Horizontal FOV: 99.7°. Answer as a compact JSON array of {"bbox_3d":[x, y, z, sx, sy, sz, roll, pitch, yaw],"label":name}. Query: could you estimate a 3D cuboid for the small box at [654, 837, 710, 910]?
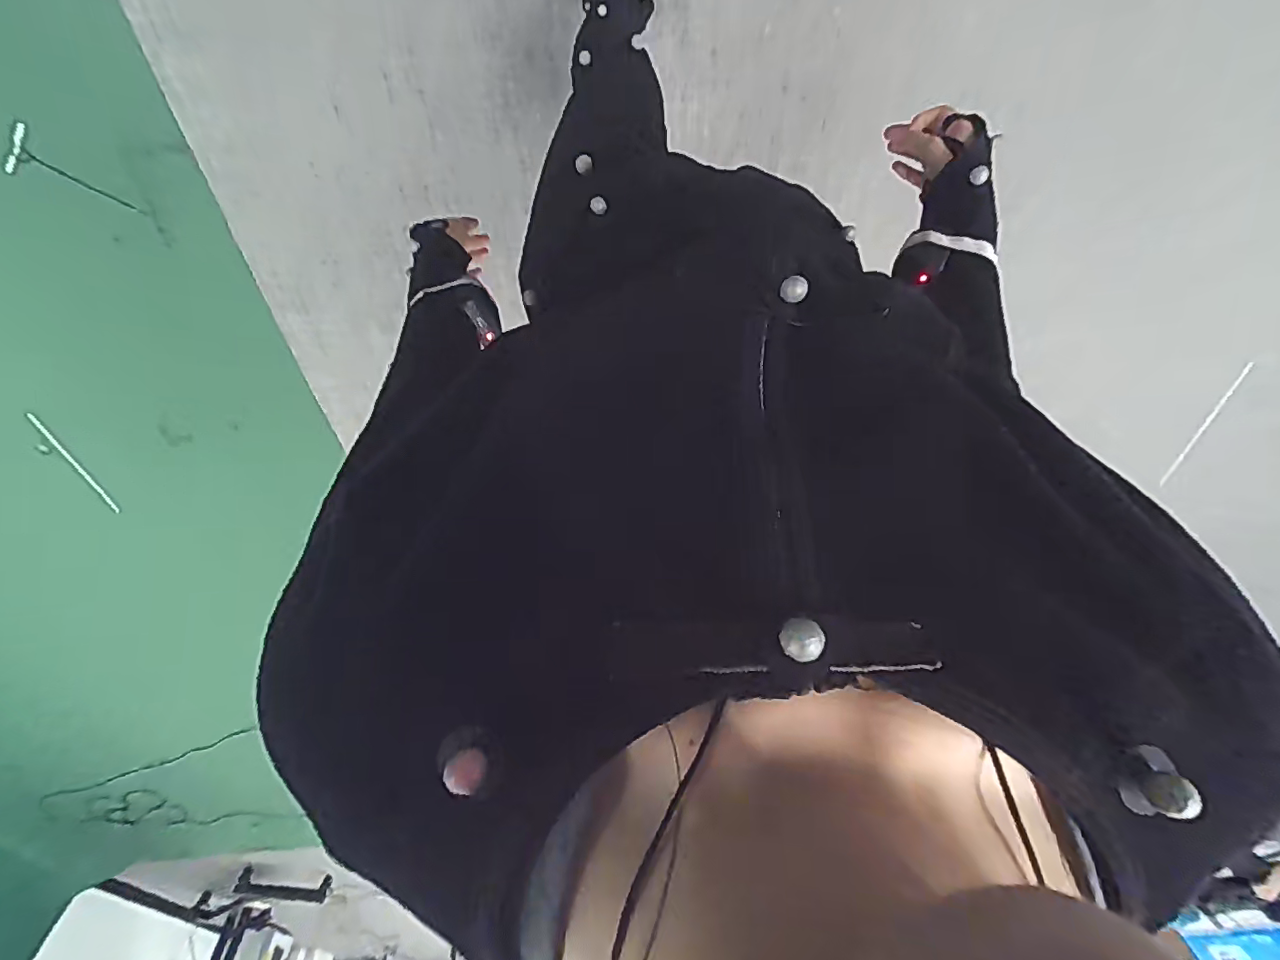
[{"bbox_3d":[0.138,1.340,1.850,0.168,0.176,0.179,-2,131,-3],"label":"small box"}]
